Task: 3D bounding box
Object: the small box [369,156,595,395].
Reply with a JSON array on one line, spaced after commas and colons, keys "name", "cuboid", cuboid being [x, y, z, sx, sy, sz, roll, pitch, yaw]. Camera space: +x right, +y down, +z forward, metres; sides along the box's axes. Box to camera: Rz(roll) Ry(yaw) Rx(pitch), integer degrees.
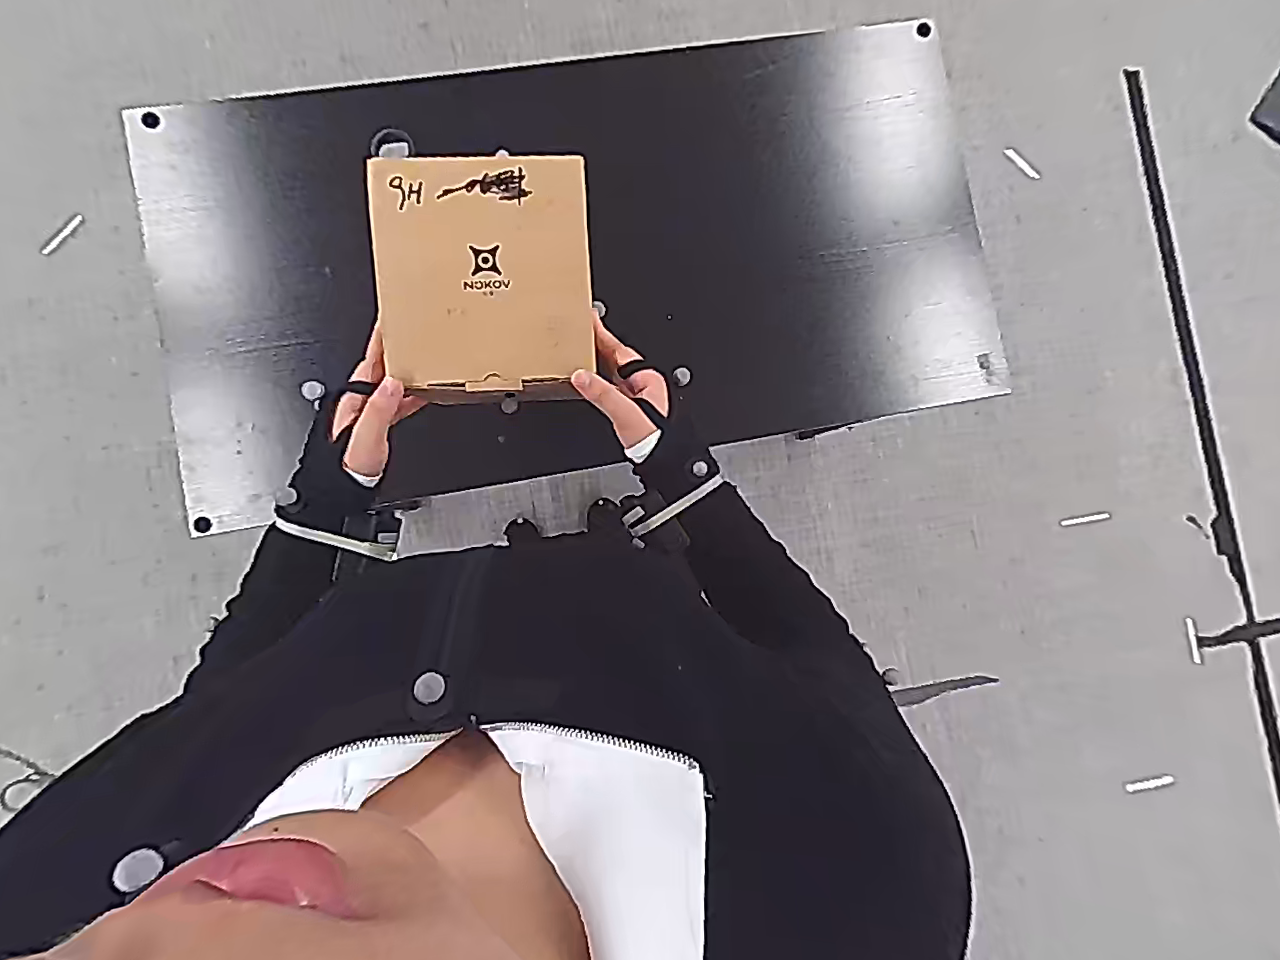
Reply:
[{"name": "small box", "cuboid": [-0.129, -0.172, 0.506, 0.168, 0.176, 0.179, -4, 95, -5]}]
